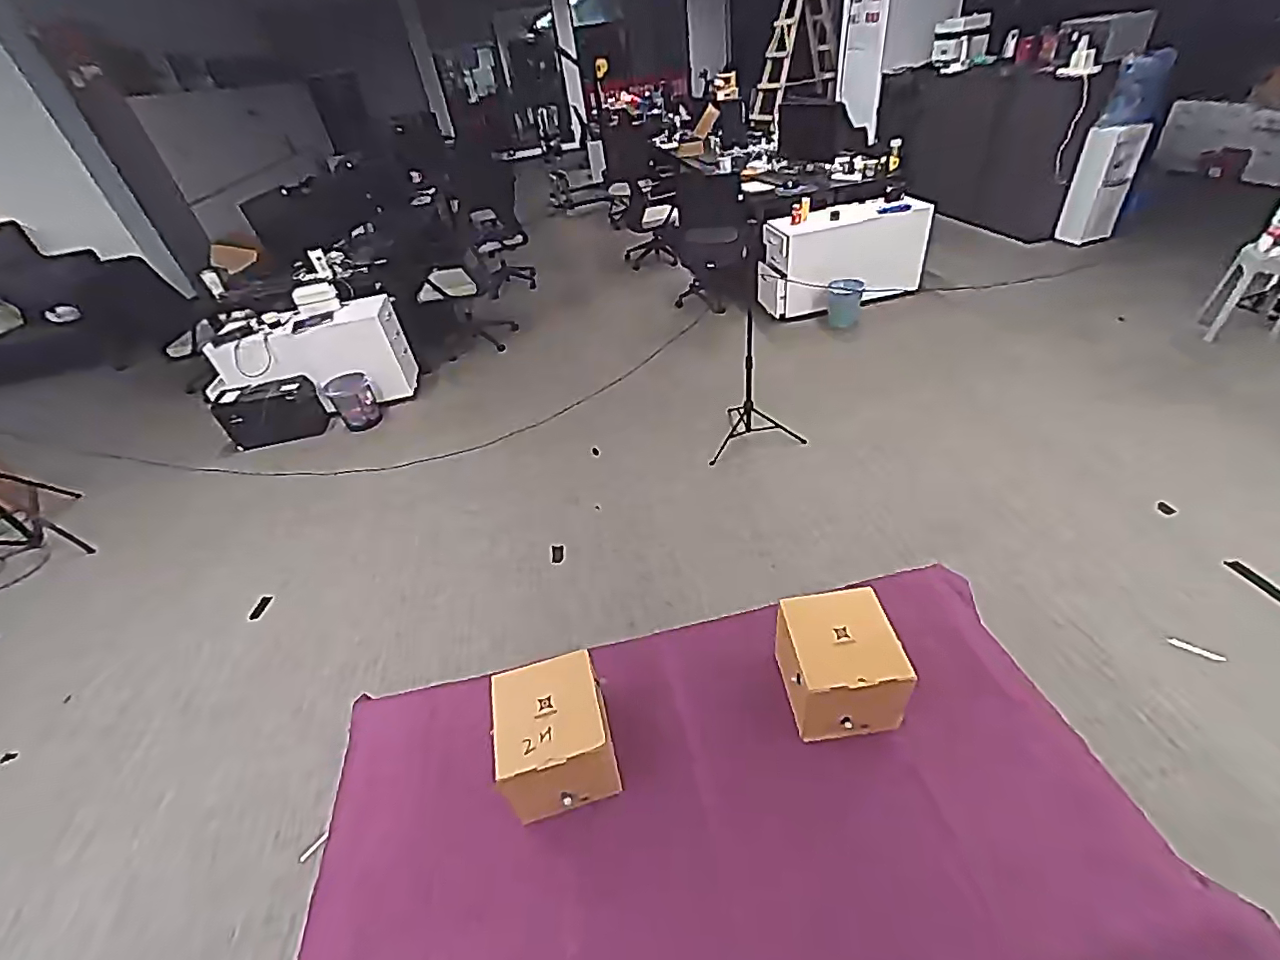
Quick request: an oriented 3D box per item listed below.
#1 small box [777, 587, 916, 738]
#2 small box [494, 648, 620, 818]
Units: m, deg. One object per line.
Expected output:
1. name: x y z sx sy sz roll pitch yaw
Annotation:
1. small box: 0.338 0.312 0.927 0.168 0.176 0.179 -9 40 1
2. small box: -0.138 0.415 0.892 0.168 0.176 0.179 -14 39 -6
